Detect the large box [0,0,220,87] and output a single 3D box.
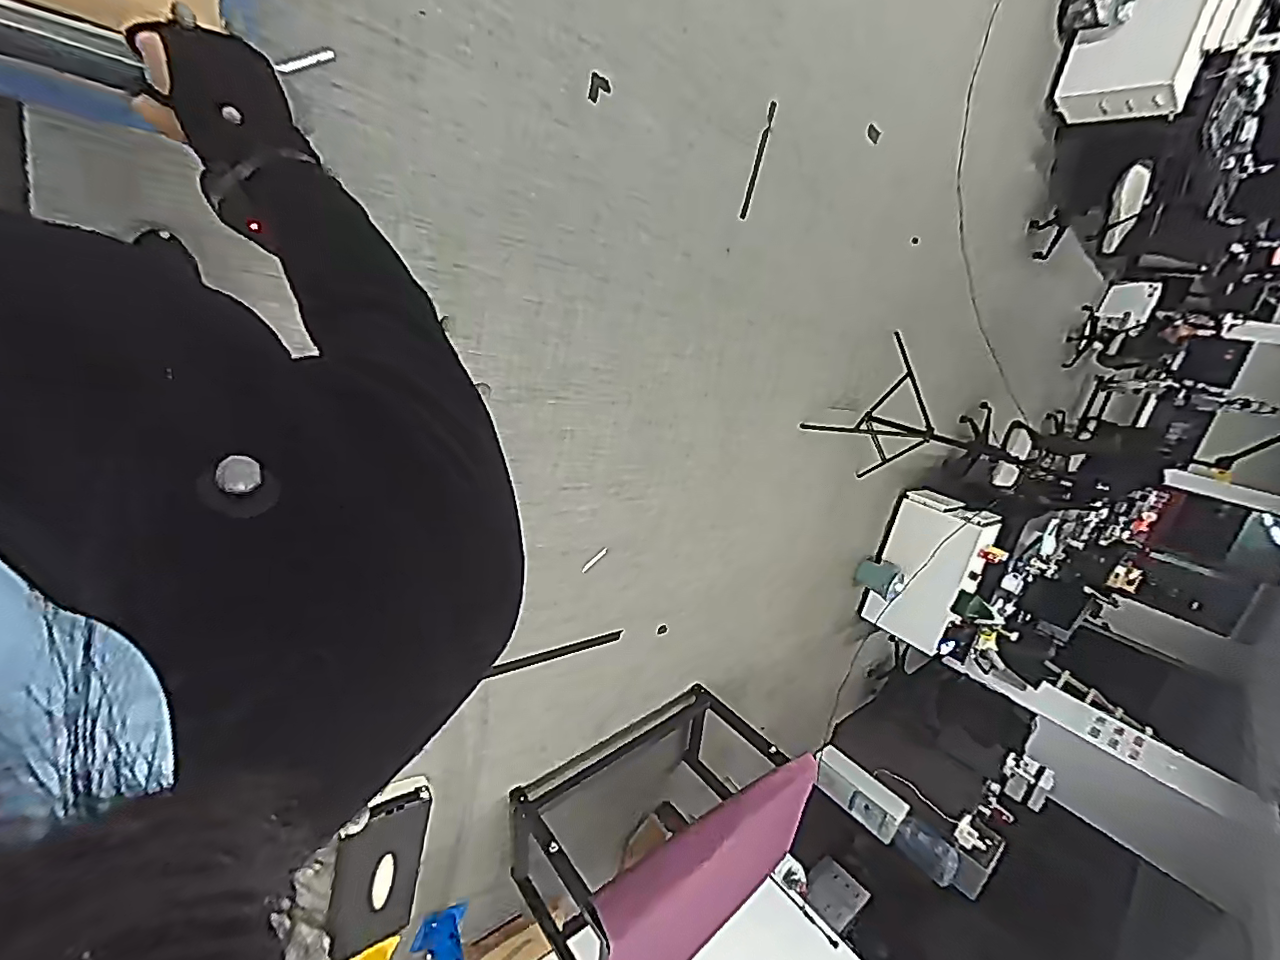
[{"bbox_3d":[-0.779,-0.736,0.641,0.408,0.320,0.320,-6,116,-42],"label":"large box"}]
